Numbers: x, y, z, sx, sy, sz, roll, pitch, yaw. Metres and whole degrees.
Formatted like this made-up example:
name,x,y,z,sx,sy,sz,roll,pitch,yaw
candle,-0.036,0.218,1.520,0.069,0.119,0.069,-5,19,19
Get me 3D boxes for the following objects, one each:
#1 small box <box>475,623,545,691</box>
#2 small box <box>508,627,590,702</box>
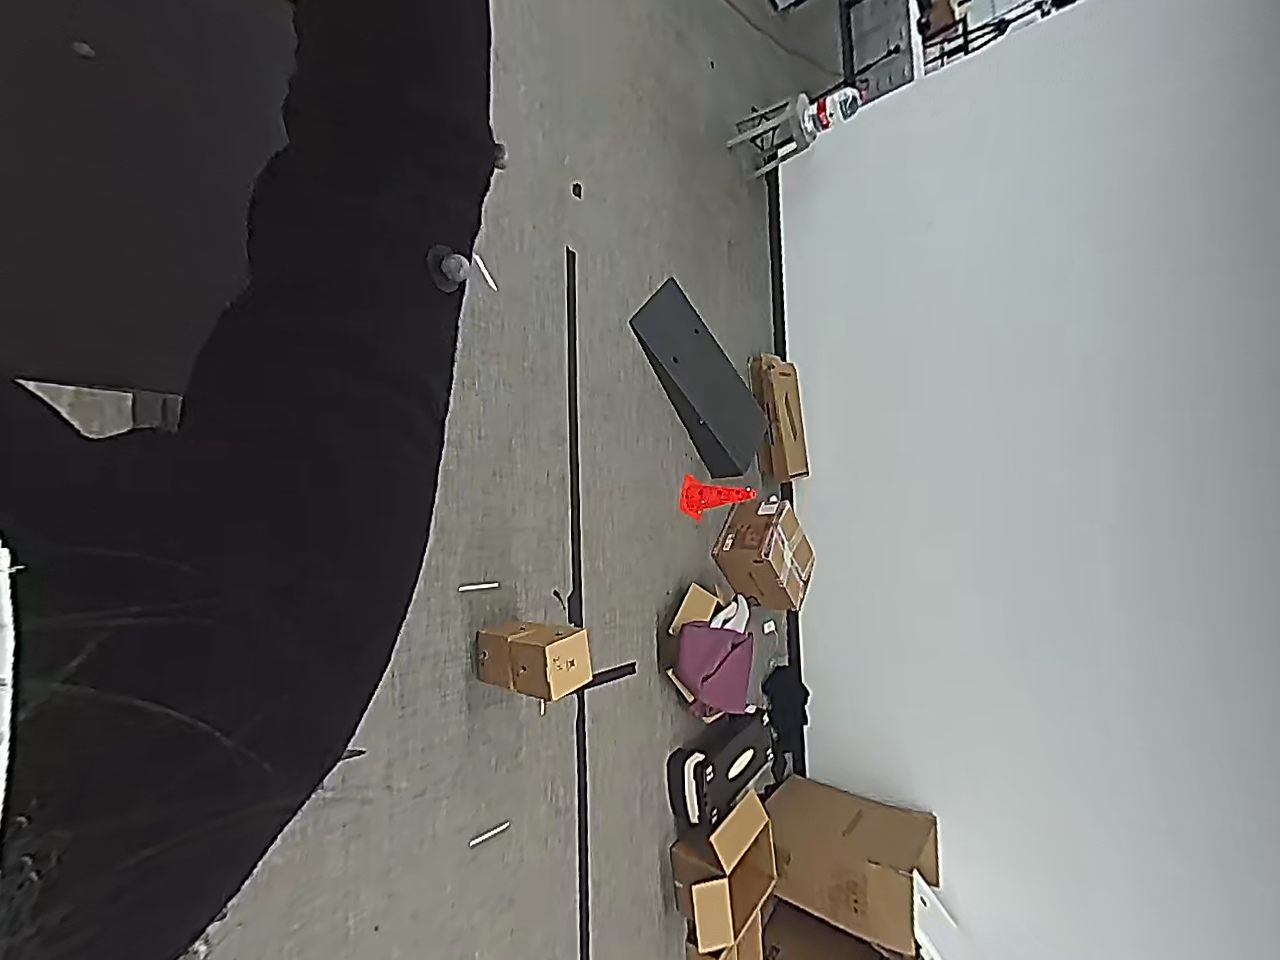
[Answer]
name,x,y,z,sx,sy,sz,roll,pitch,yaw
small box,-0.419,0.571,1.773,0.179,0.176,0.168,0,86,-50
small box,-0.283,0.563,1.680,0.179,0.176,0.168,-8,91,-51
